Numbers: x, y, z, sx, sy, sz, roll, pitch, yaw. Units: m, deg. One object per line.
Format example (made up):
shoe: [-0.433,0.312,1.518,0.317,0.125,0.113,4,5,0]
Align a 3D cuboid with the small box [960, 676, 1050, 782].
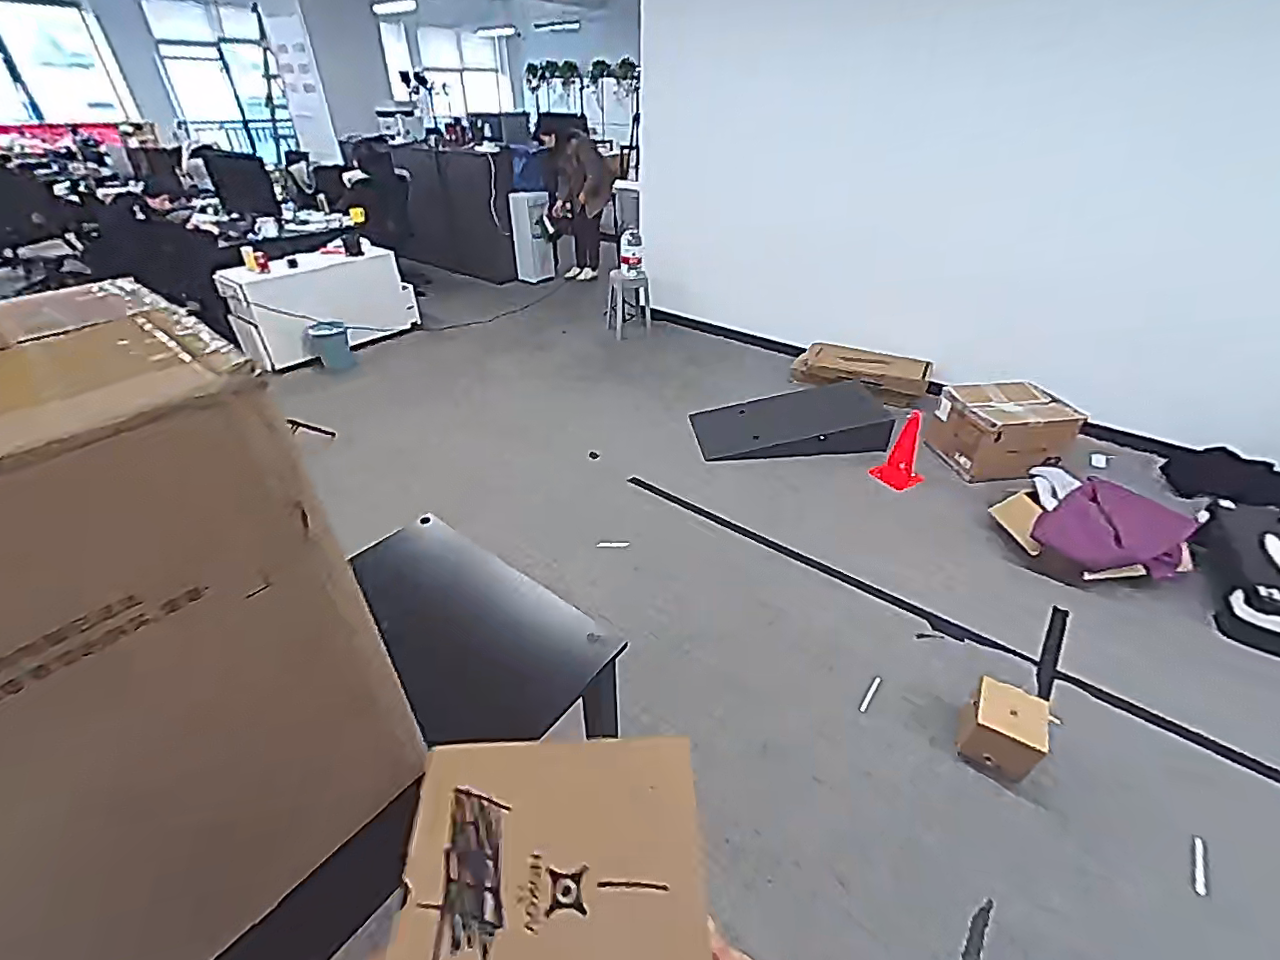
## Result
small box: [1.025,0.700,1.525,0.168,0.176,0.179,19,41,26]

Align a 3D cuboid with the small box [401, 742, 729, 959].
small box: [-0.039,0.295,0.358,0.179,0.176,0.168,-2,41,-1]
